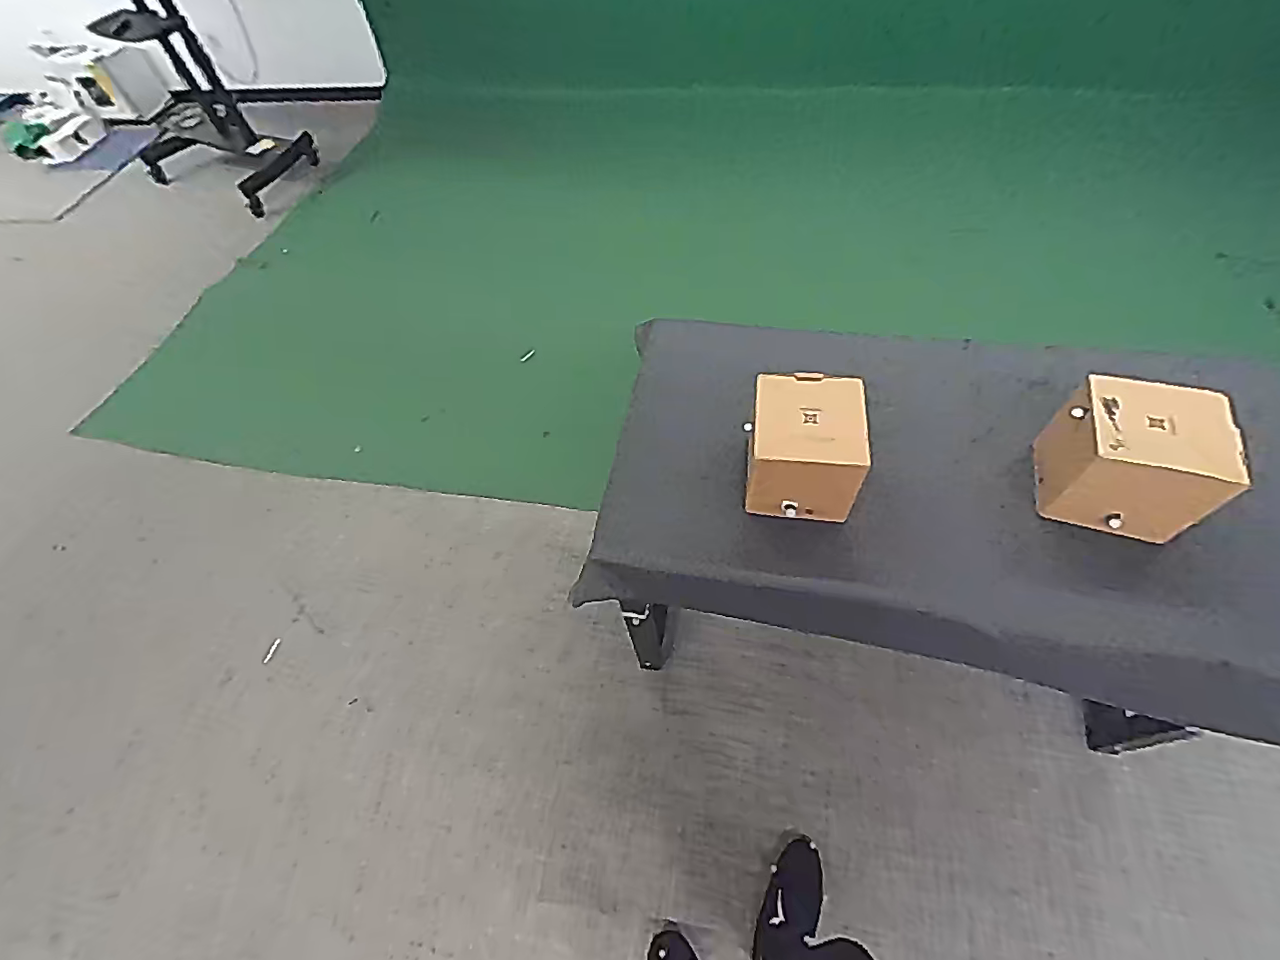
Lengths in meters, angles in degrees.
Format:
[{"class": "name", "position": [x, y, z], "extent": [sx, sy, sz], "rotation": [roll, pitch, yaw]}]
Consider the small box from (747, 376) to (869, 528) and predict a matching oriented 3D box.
[{"class": "small box", "position": [0.265, -0.044, 0.881], "extent": [0.168, 0.176, 0.179], "rotation": [5, 56, 11]}]

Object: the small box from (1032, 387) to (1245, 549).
[{"class": "small box", "position": [0.745, -0.012, 0.833], "extent": [0.179, 0.176, 0.168], "rotation": [15, 58, 14]}]
